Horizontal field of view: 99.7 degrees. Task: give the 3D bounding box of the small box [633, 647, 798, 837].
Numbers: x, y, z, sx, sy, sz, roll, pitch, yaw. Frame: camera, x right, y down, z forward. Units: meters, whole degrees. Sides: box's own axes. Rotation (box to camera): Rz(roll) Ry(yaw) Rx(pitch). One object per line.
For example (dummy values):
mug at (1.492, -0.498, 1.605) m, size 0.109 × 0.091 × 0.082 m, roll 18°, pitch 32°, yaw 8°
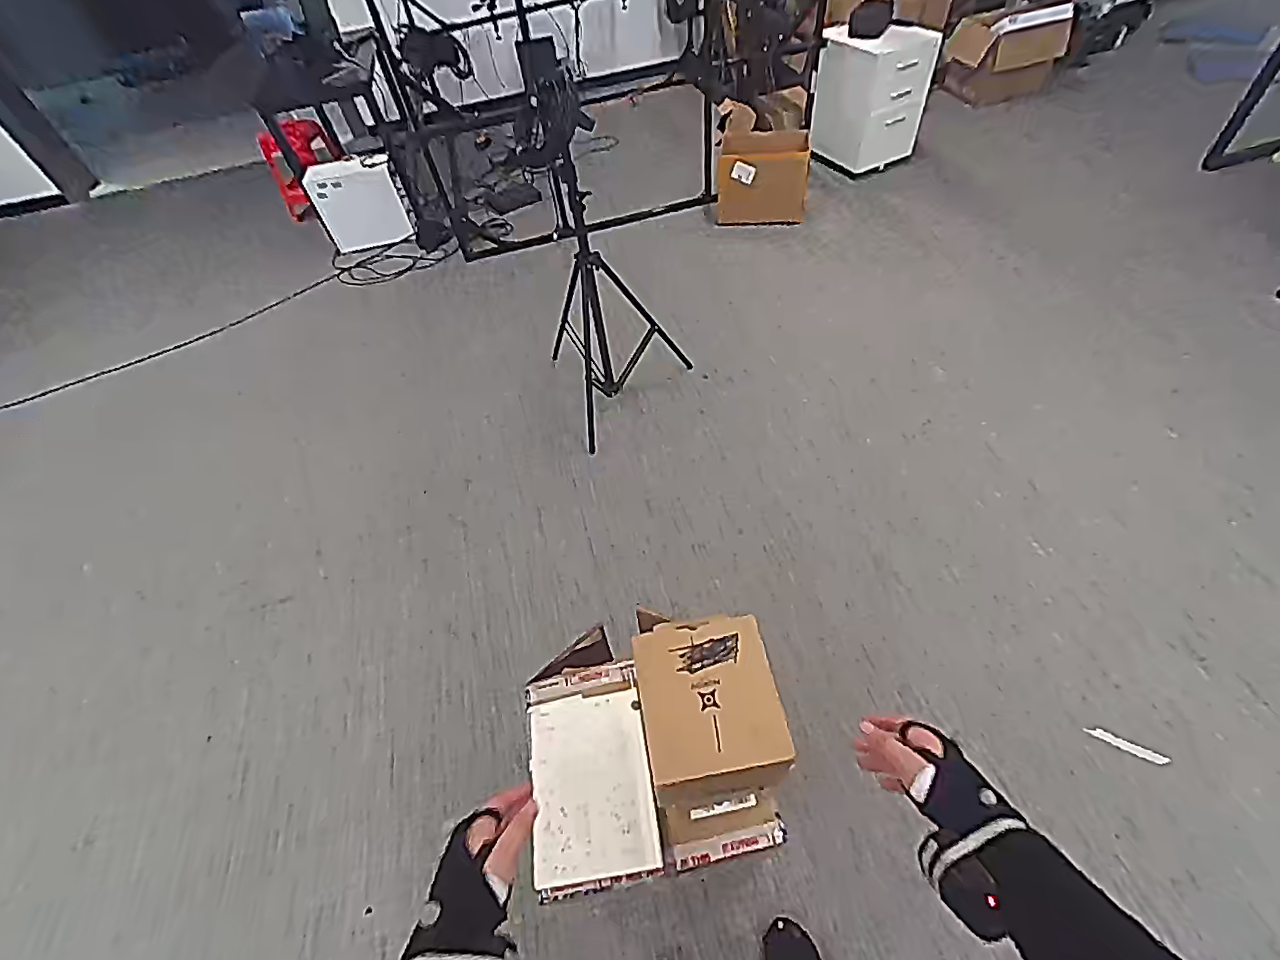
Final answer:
small box at (0.085, 0.342, 0.701) m, size 0.168 × 0.176 × 0.179 m, roll -9°, pitch 53°, yaw -3°
